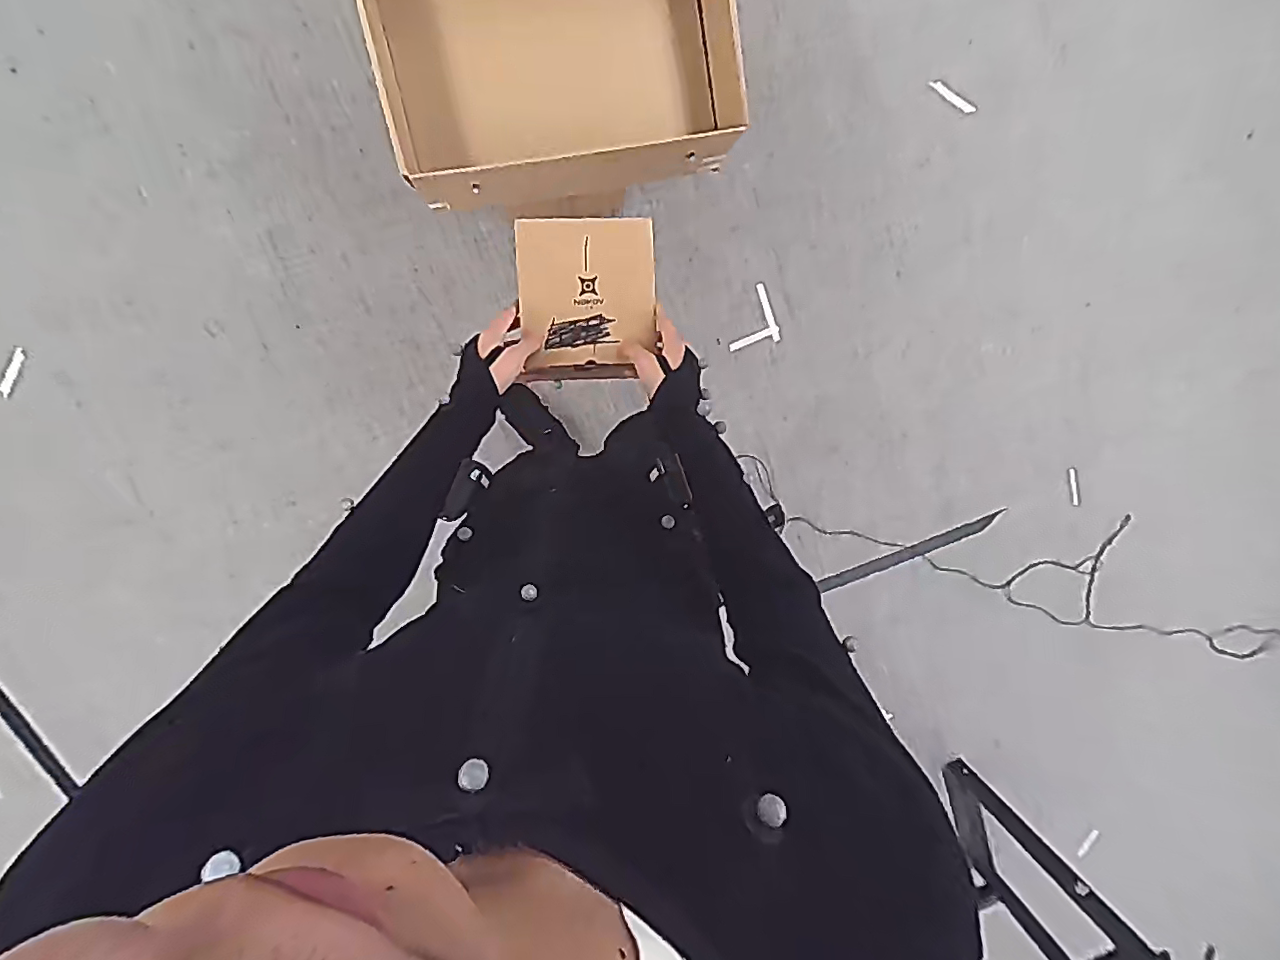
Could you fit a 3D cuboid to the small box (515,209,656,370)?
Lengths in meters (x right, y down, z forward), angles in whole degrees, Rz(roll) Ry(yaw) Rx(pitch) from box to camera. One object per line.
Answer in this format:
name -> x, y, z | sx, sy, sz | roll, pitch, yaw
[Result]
small box -> -0.068, -0.240, 0.721 | 0.168, 0.176, 0.179 | -3, 96, -5
